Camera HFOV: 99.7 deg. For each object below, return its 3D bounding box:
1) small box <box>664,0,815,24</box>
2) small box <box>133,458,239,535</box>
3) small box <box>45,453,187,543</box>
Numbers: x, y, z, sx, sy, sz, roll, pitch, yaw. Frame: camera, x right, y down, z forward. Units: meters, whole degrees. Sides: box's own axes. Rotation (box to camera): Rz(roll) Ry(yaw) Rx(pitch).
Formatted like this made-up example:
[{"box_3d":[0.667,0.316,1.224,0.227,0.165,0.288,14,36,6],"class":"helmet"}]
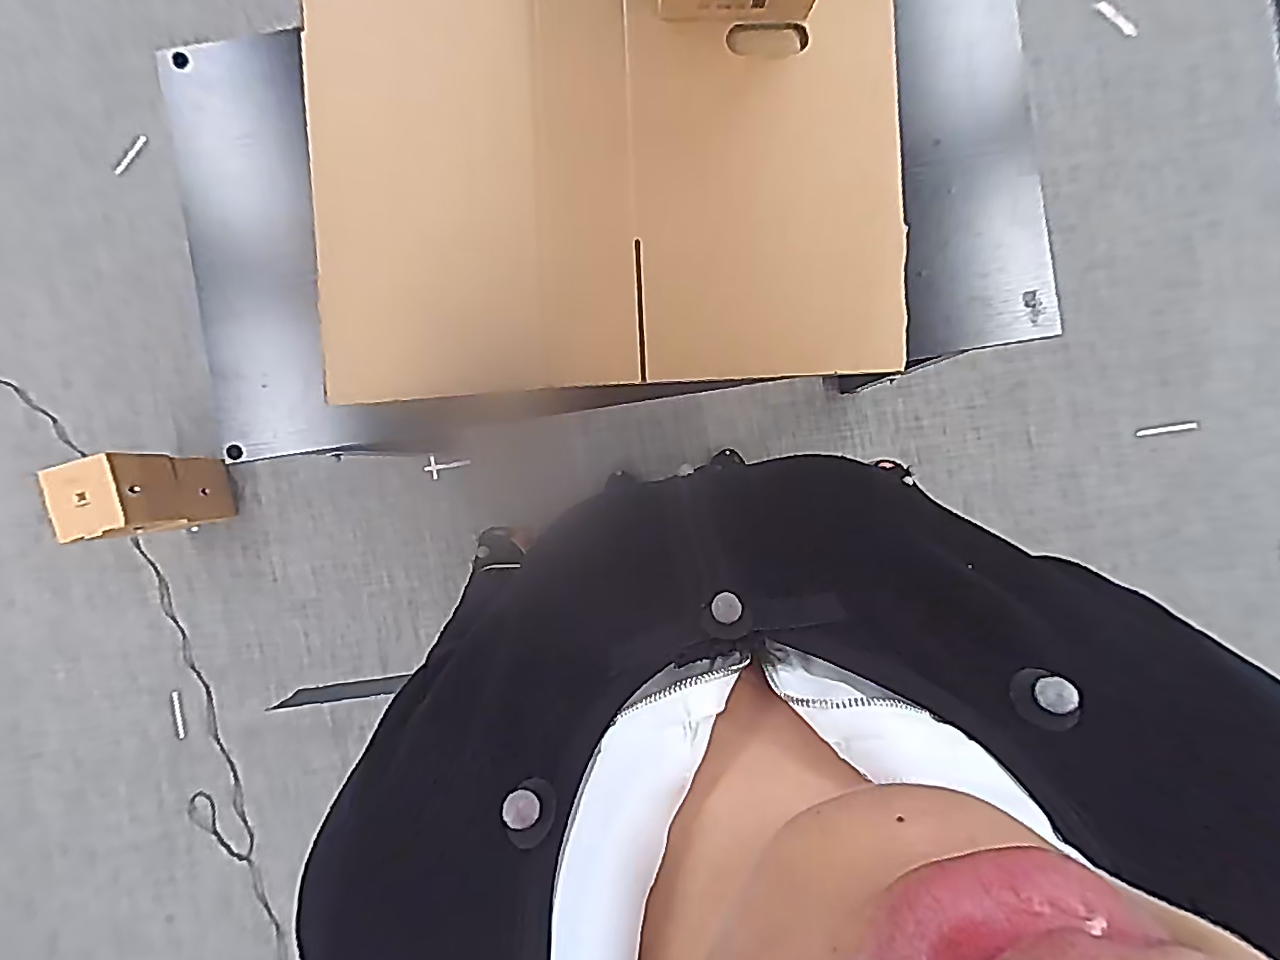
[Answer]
[{"box_3d":[0.104,-0.583,0.505,0.168,0.176,0.179,-1,89,-1],"class":"small box"},{"box_3d":[-1.247,0.041,1.473,0.168,0.176,0.179,-12,91,3],"class":"small box"},{"box_3d":[-1.256,0.040,1.311,0.168,0.176,0.179,-16,90,2],"class":"small box"}]
